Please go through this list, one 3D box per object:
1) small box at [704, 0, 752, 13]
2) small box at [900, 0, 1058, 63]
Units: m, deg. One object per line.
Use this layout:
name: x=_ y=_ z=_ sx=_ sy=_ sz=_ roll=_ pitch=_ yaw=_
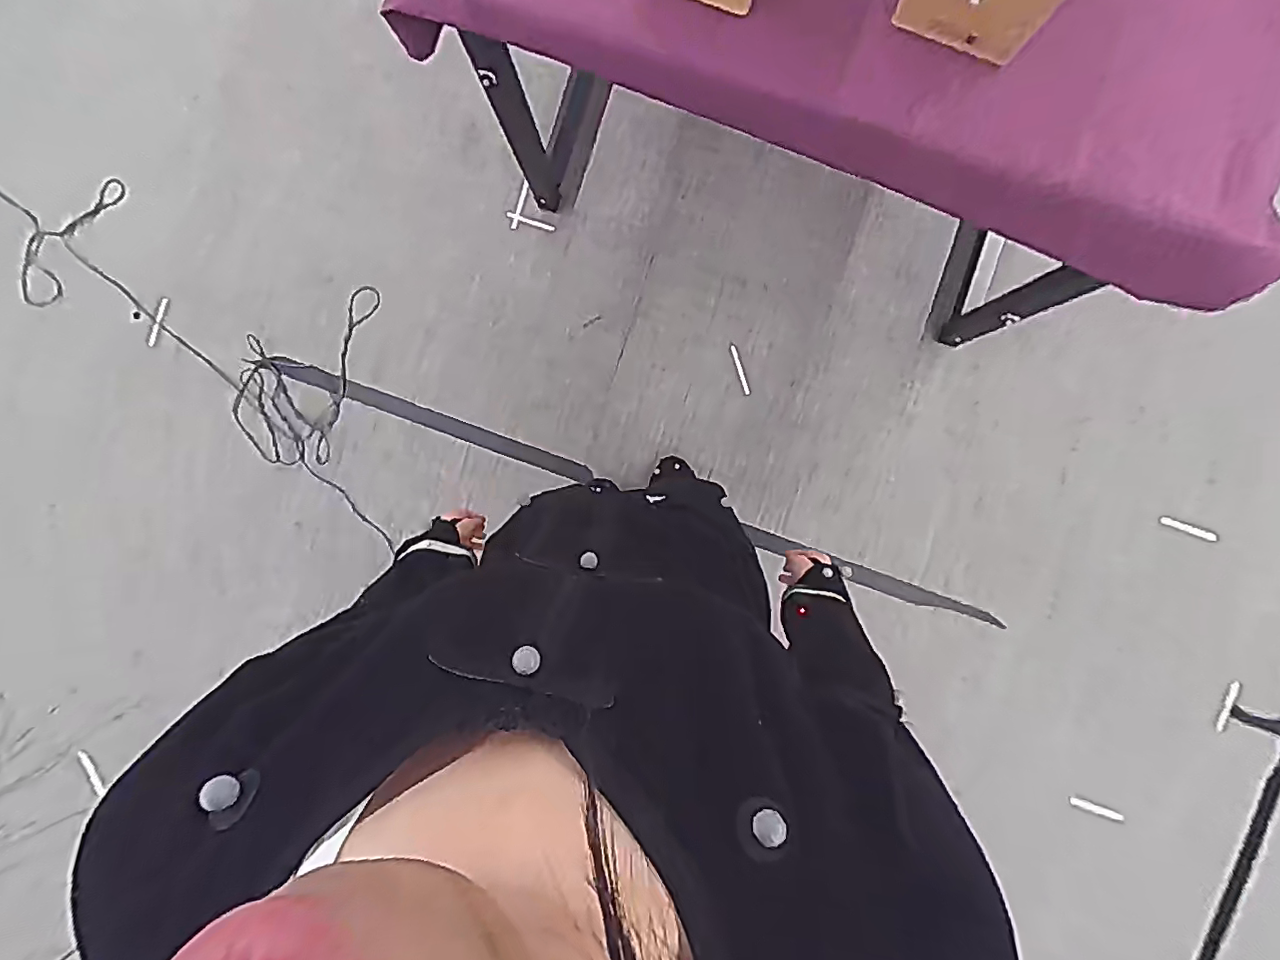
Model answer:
small box: x=0.096 y=-0.731 z=0.653 sx=0.168 sy=0.176 sz=0.179 roll=20 pitch=91 yaw=0
small box: x=0.444 y=-0.658 z=0.646 sx=0.168 sy=0.176 sz=0.179 roll=22 pitch=92 yaw=0
